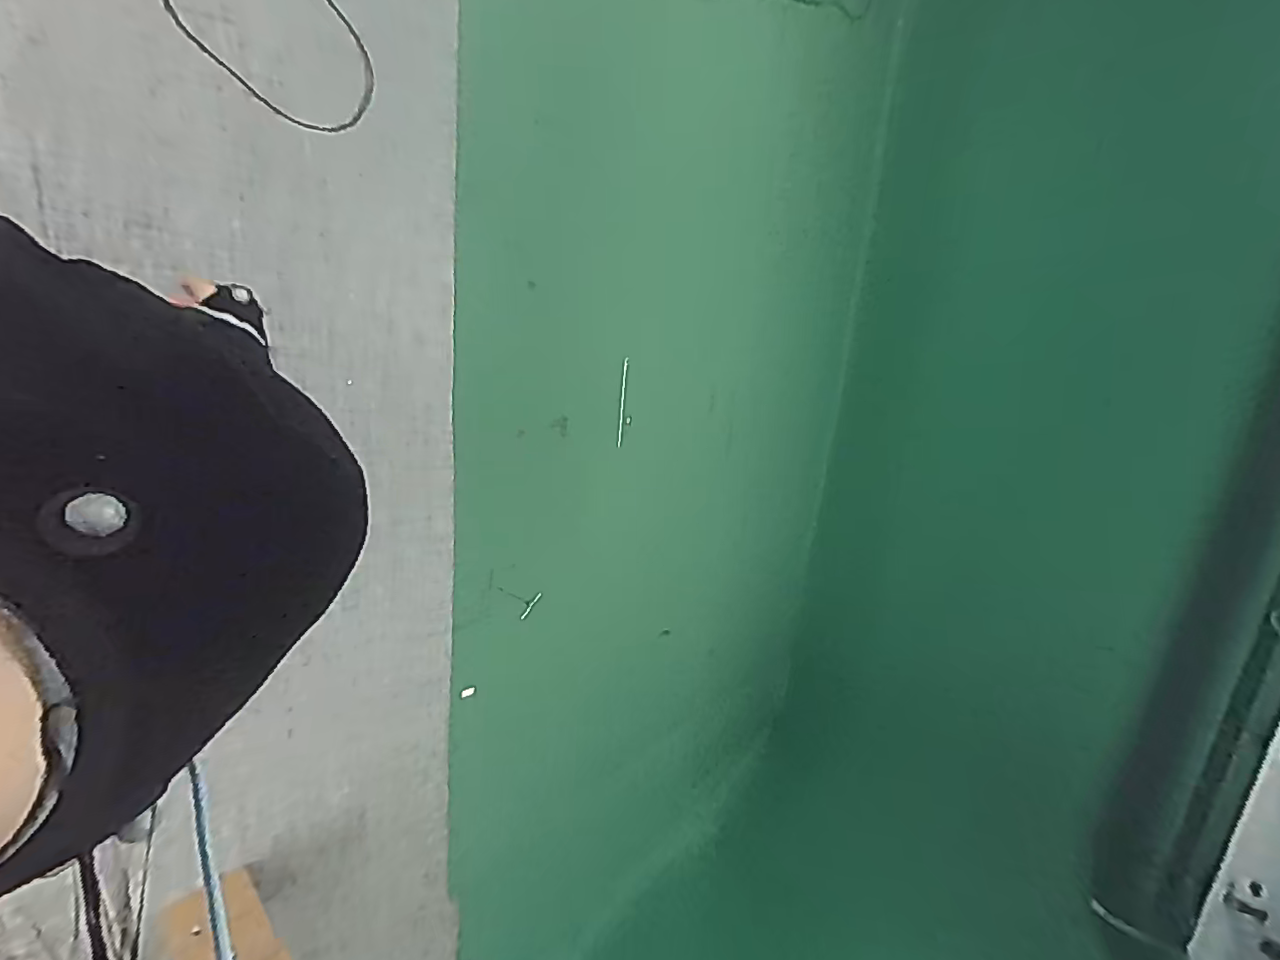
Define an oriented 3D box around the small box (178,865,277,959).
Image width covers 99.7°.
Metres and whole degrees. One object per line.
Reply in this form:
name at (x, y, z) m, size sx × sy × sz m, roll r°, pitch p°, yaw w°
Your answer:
small box at (-1.087, 1.178, 1.422) m, size 0.179 × 0.176 × 0.168 m, roll -12°, pitch 111°, yaw -49°
